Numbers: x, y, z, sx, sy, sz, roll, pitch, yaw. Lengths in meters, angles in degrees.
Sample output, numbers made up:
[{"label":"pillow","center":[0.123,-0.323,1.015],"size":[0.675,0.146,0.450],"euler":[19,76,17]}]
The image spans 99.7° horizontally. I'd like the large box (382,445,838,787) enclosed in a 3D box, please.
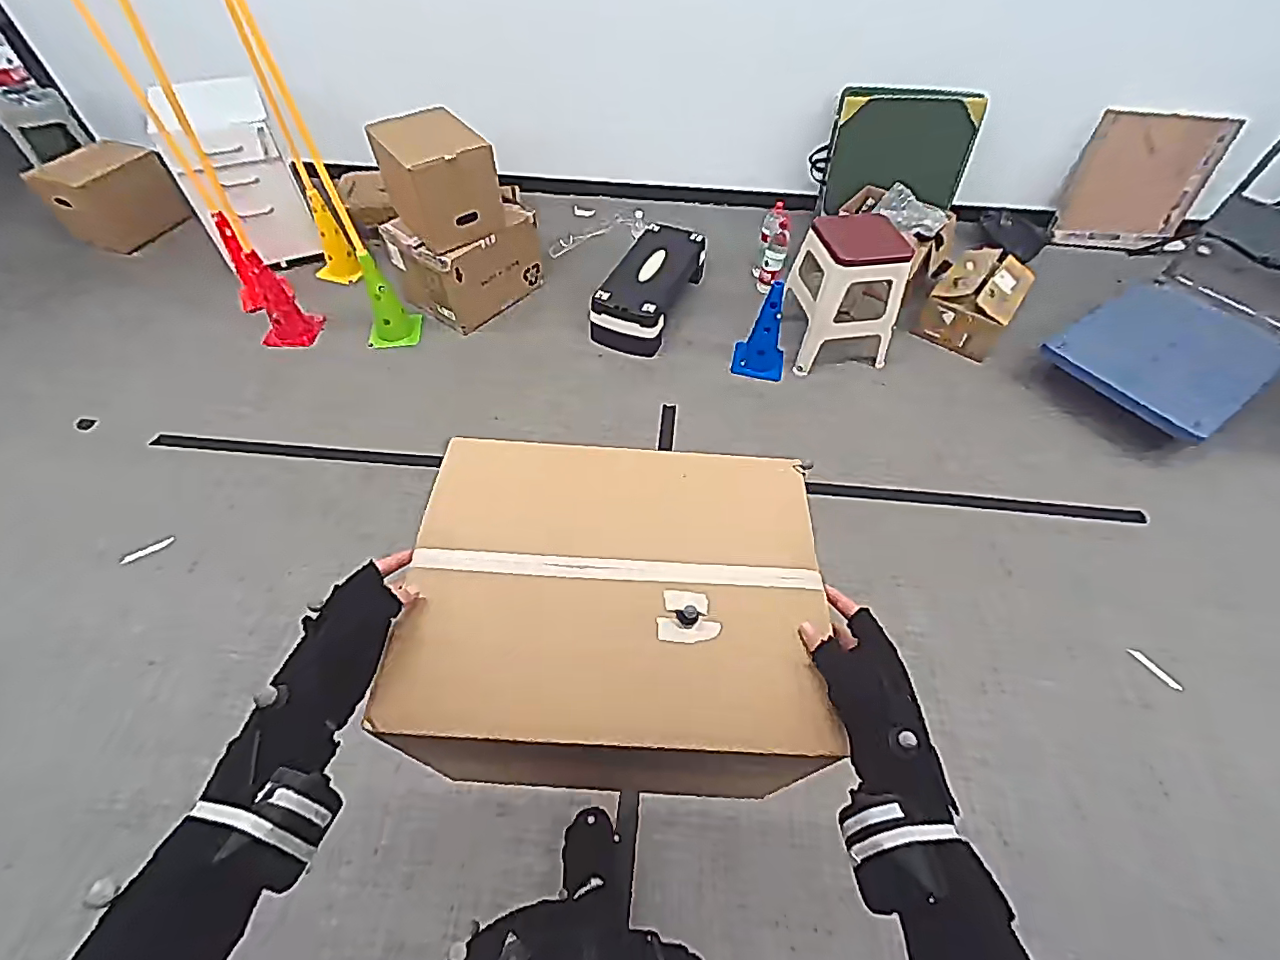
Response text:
[{"label":"large box","center":[-0.030,0.181,0.669],"size":[0.408,0.320,0.320],"euler":[4,55,-2]}]
